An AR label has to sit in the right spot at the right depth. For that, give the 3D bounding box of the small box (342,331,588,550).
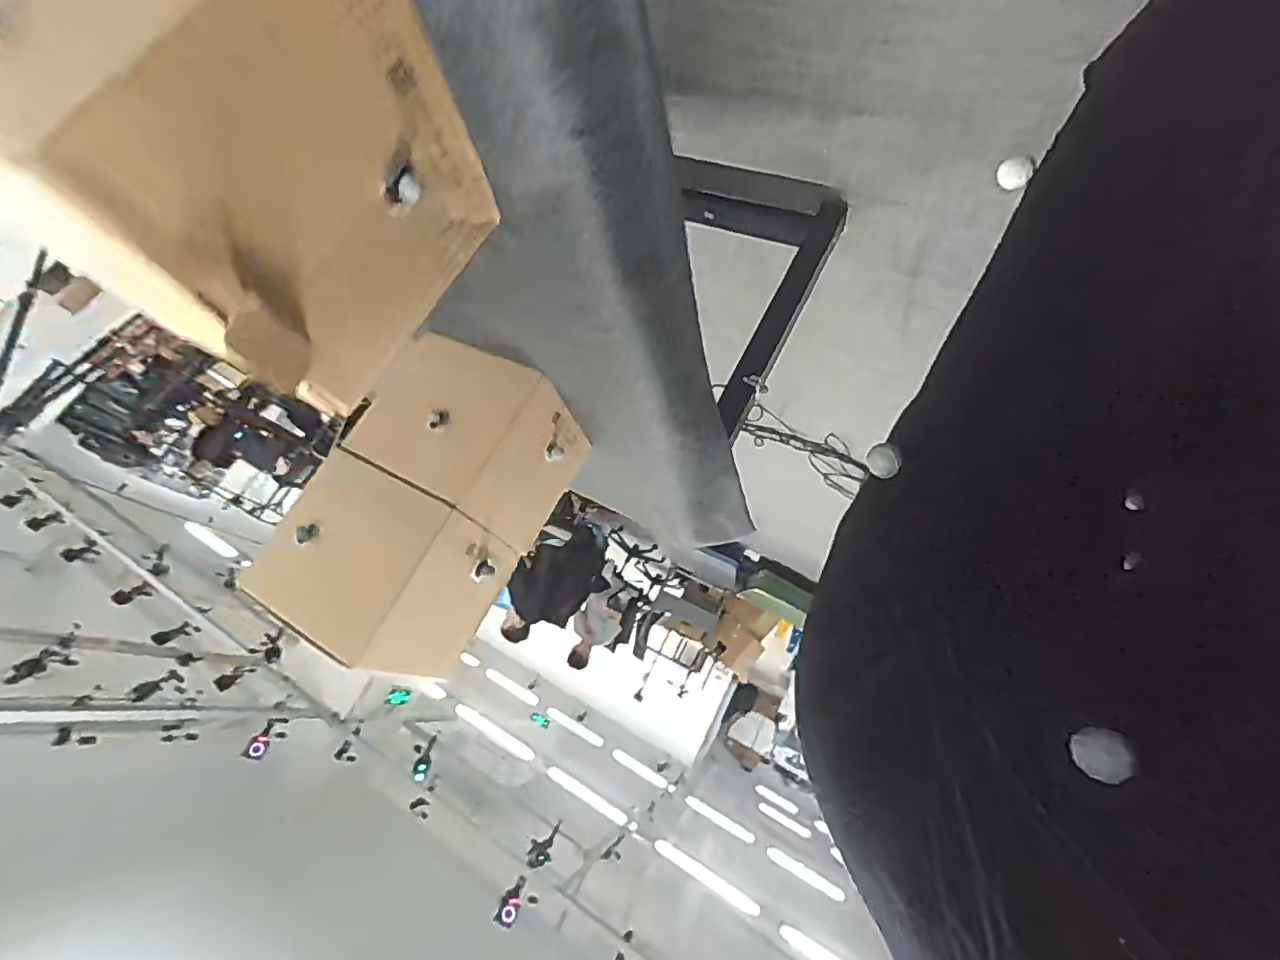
[{"bbox_3d":[-0.190,-0.048,0.634,0.179,0.176,0.168,23,162,22],"label":"small box"}]

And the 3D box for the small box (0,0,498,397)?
[{"bbox_3d":[-0.208,-0.179,0.278,0.179,0.176,0.168,26,163,15],"label":"small box"}]

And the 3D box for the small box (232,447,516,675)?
[{"bbox_3d":[-0.269,0.085,0.584,0.179,0.176,0.168,22,163,21],"label":"small box"}]
